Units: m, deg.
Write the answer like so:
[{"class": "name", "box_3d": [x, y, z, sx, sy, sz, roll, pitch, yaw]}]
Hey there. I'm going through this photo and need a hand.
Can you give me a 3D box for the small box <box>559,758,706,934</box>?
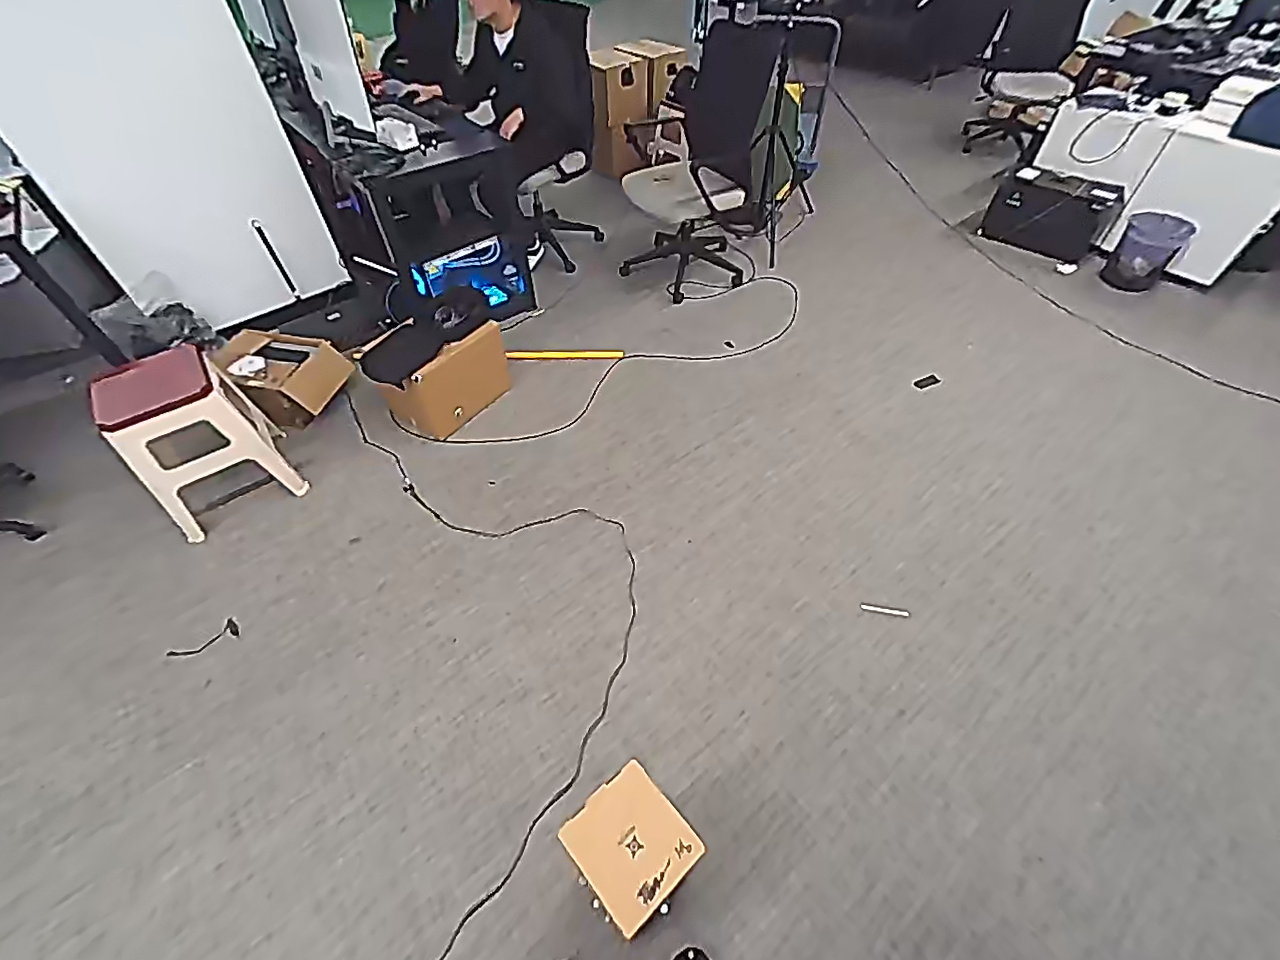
[{"class": "small box", "box_3d": [-0.013, 0.613, 0.903, 0.168, 0.176, 0.179, -35, 58, -25]}]
